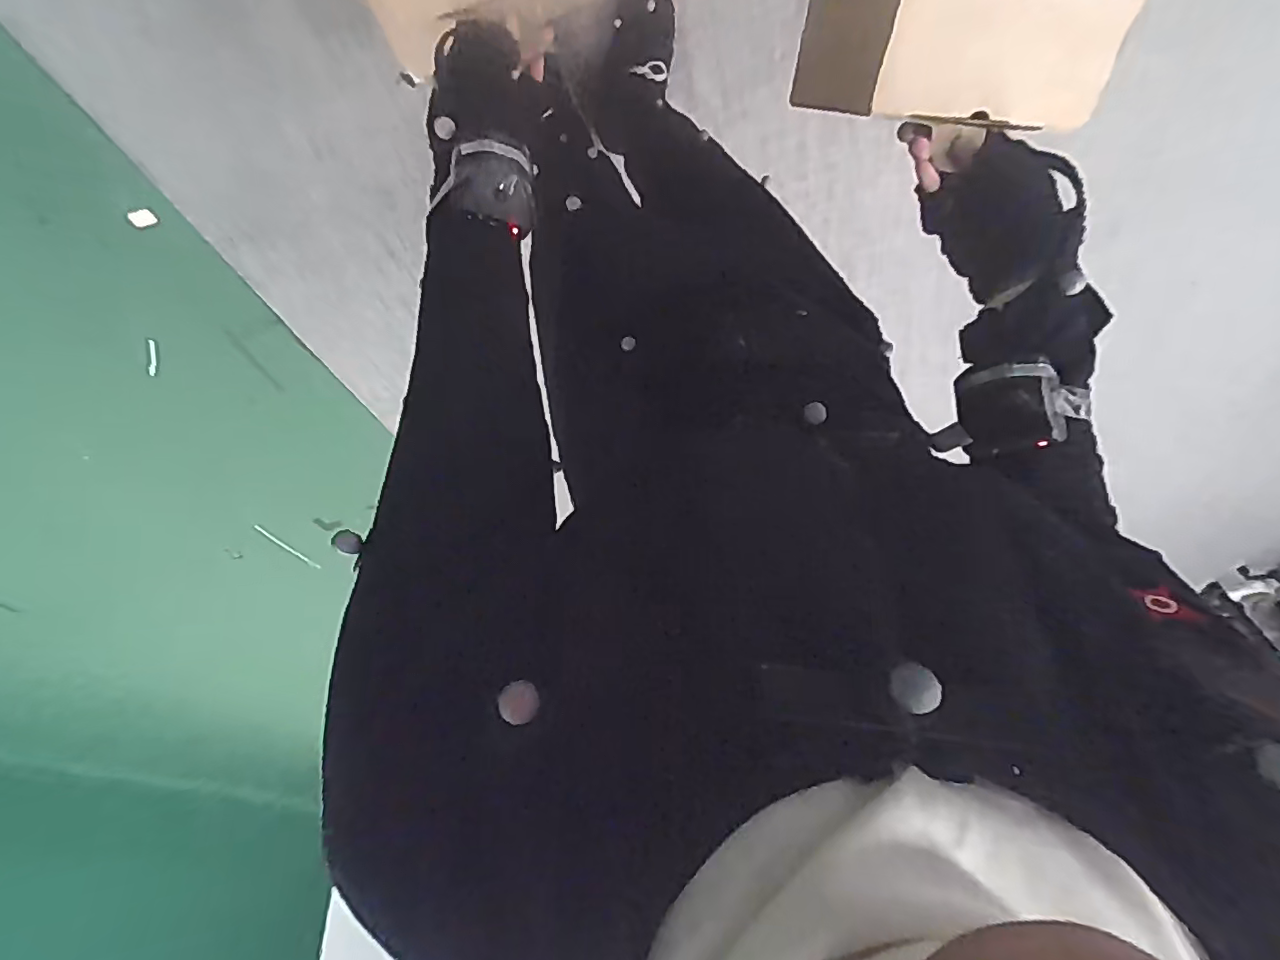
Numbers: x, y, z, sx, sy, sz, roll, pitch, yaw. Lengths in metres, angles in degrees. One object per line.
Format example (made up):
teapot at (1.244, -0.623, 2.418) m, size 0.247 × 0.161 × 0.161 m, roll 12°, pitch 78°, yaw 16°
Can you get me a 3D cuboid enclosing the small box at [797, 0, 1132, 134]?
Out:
small box at (0.233, -0.373, 0.397) m, size 0.168 × 0.176 × 0.179 m, roll 0°, pitch 127°, yaw -9°
